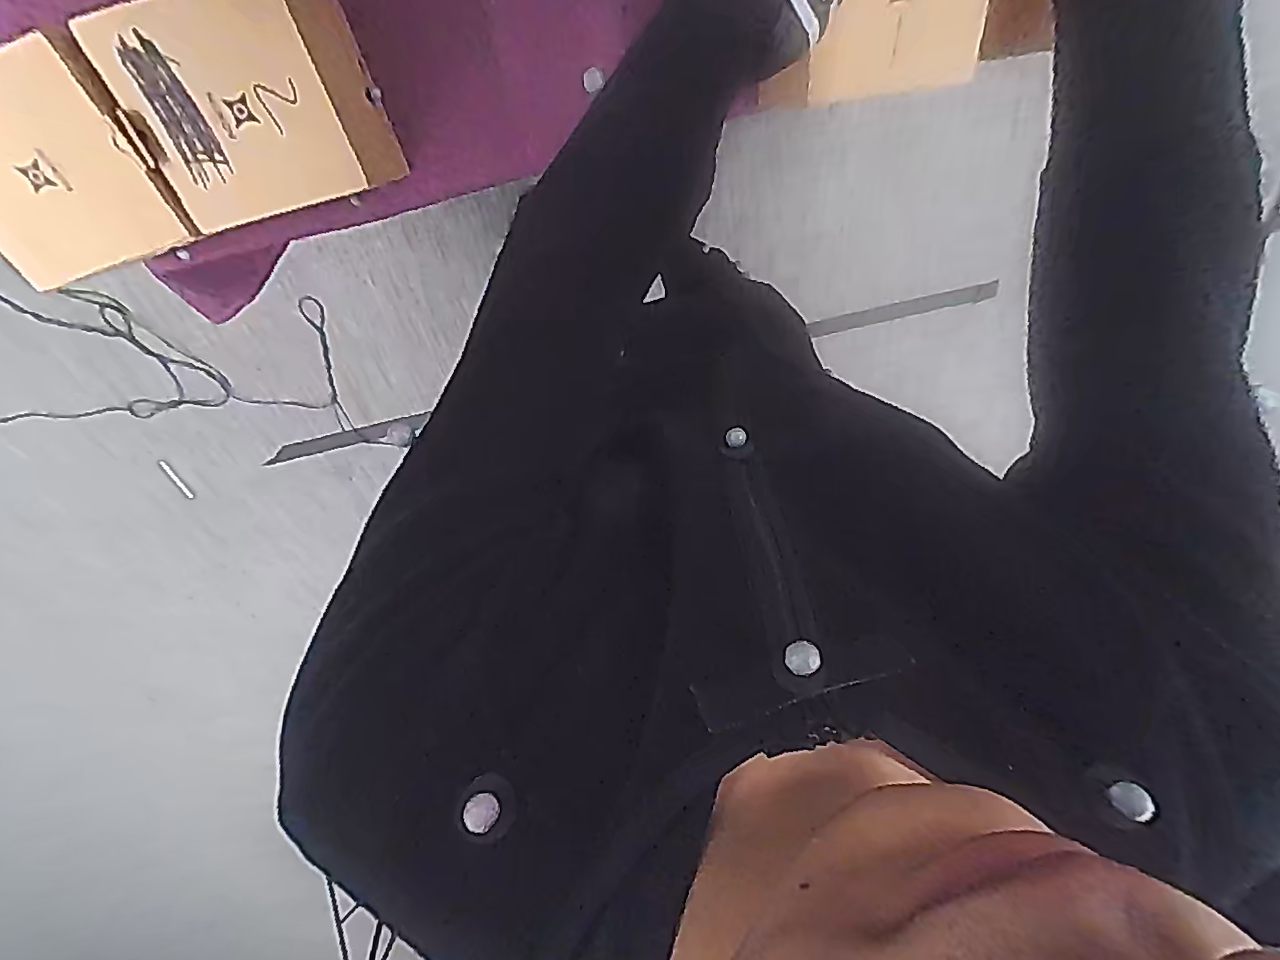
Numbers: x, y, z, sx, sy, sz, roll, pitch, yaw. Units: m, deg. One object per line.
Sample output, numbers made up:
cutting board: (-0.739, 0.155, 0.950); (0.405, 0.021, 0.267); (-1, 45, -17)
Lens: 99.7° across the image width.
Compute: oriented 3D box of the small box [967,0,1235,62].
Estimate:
small box: (0.456, -0.540, 0.531); (0.168, 0.176, 0.179); (-11, 124, 2)
